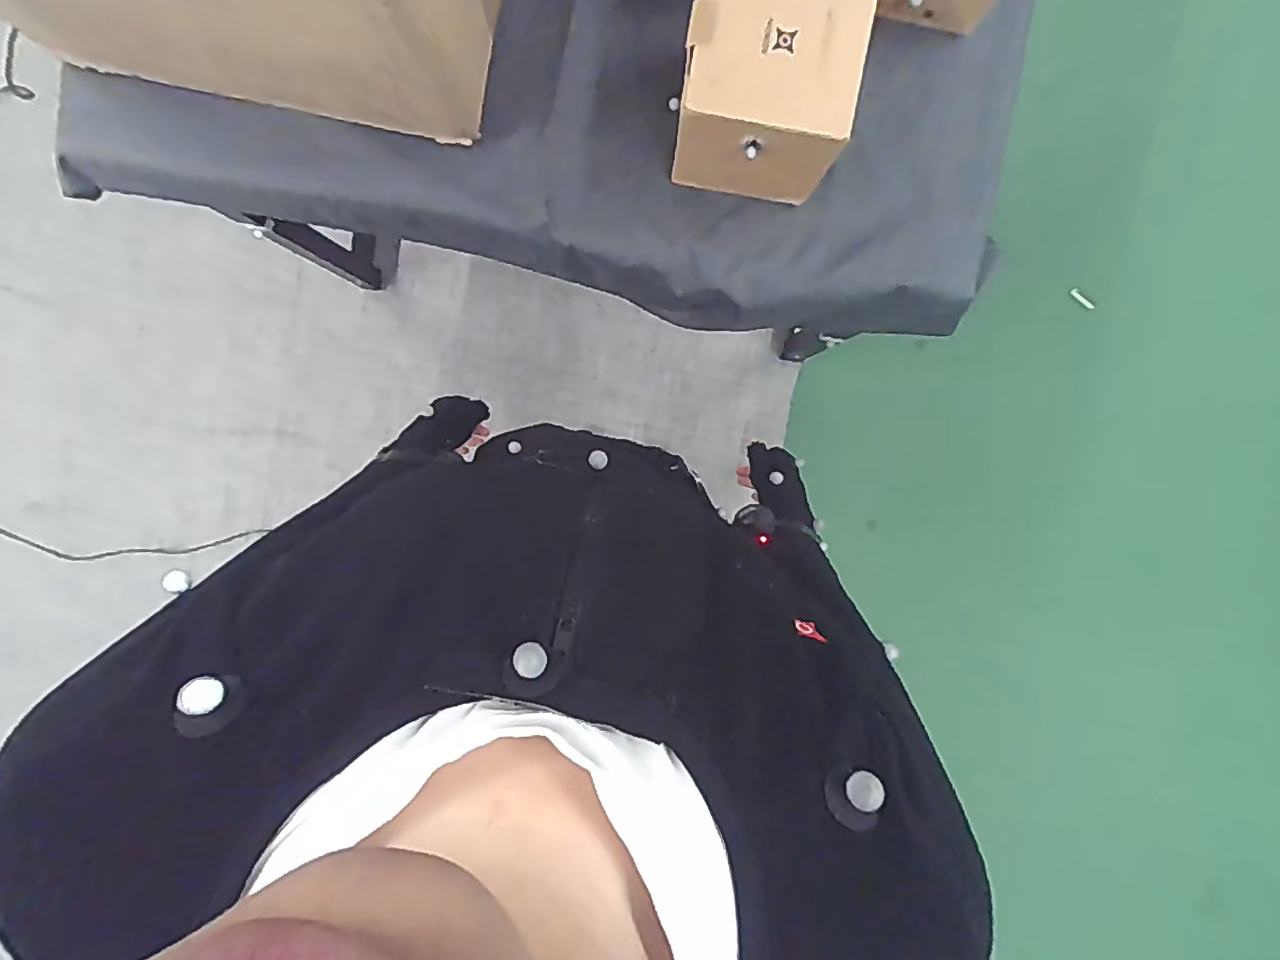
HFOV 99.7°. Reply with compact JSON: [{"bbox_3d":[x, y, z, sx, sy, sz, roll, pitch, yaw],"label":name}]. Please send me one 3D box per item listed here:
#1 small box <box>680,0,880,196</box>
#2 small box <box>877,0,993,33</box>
[{"bbox_3d":[0.146,-0.454,0.623,0.179,0.176,0.168,10,96,-2],"label":"small box"},{"bbox_3d":[0.359,-0.664,0.604,0.168,0.176,0.179,12,95,-1],"label":"small box"}]
